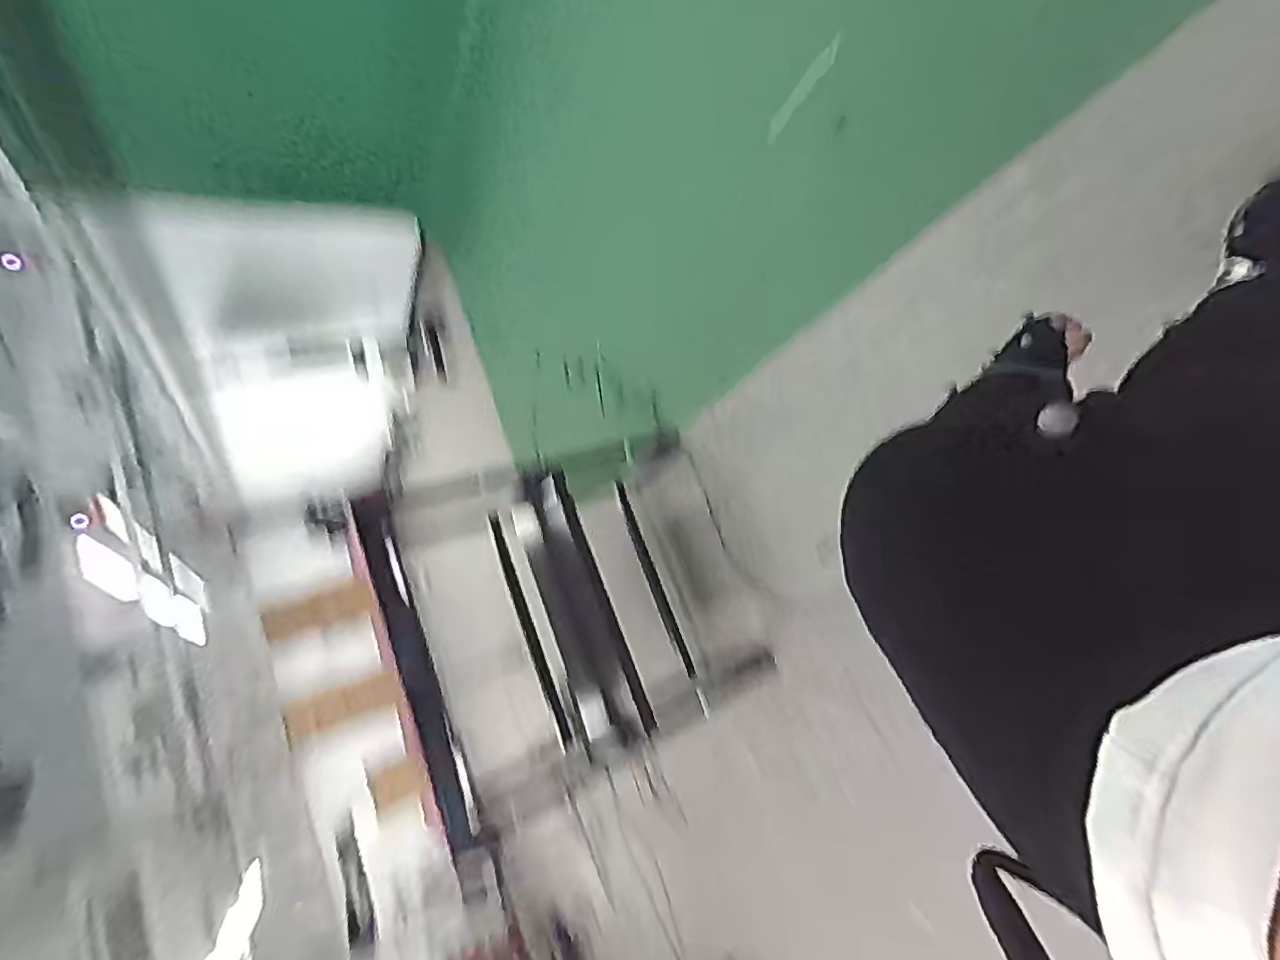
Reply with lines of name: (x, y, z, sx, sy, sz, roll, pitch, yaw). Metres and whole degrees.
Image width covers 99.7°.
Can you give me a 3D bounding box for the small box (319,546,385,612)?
small box: (-1.010, 0.349, 1.901, 0.168, 0.176, 0.179, -30, 78, 57)
